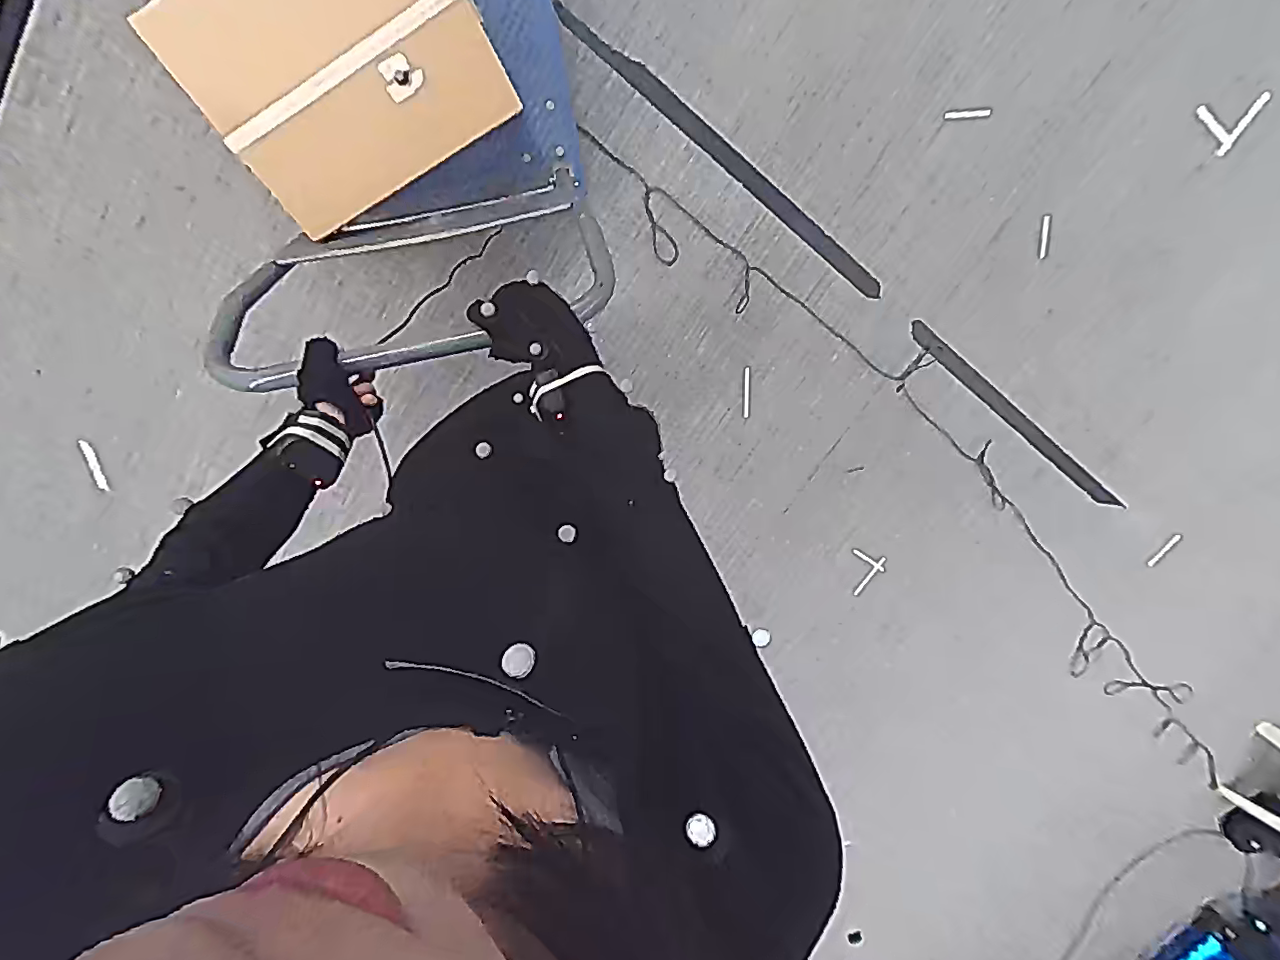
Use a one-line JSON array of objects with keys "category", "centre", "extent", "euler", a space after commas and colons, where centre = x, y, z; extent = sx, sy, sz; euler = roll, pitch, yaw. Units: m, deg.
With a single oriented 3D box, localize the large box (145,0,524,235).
[{"category": "large box", "centre": [-0.443, -0.675, 0.890], "extent": [0.408, 0.320, 0.320], "euler": [-29, 125, 7]}]
